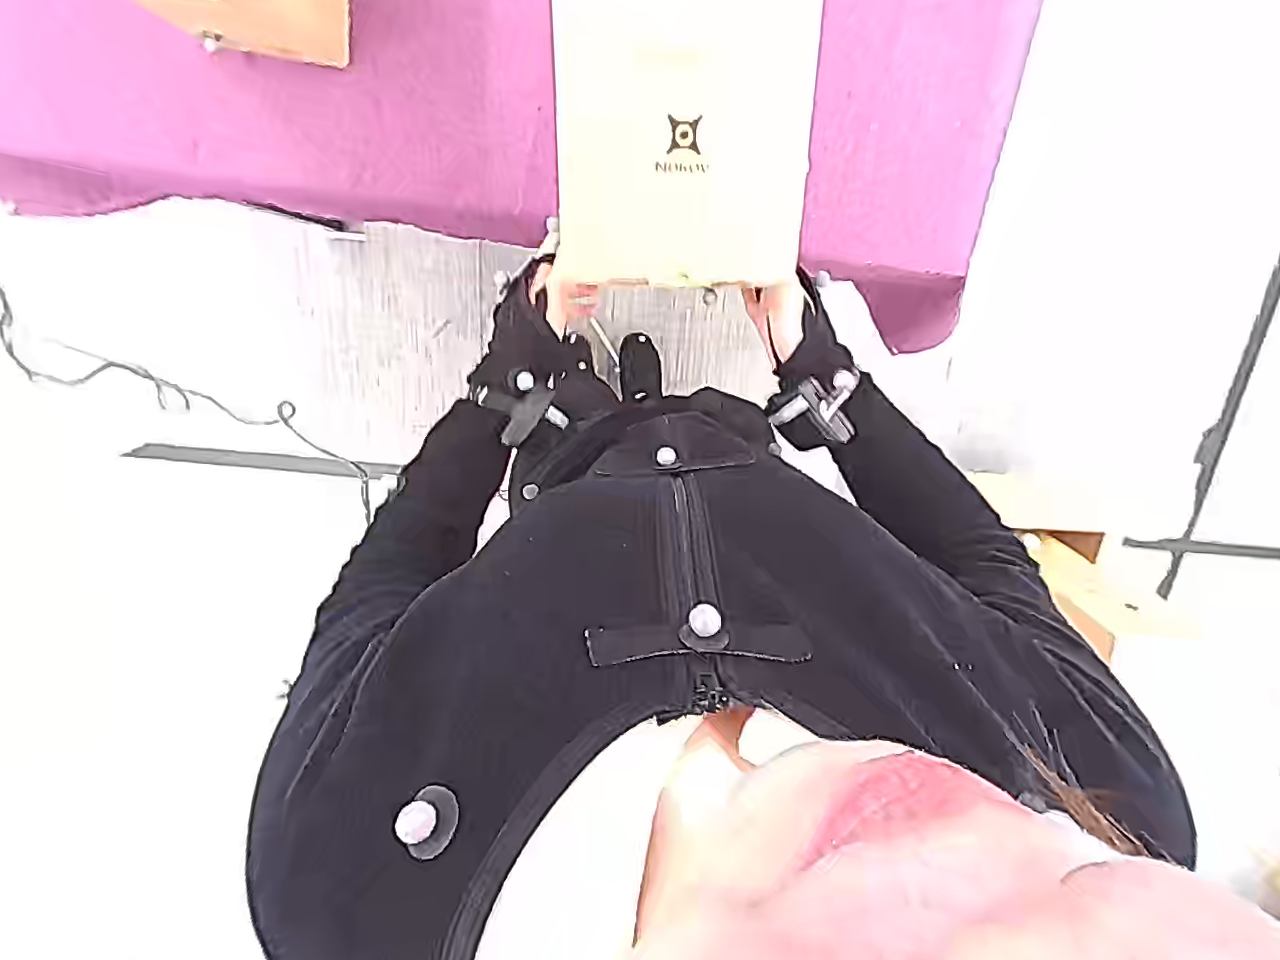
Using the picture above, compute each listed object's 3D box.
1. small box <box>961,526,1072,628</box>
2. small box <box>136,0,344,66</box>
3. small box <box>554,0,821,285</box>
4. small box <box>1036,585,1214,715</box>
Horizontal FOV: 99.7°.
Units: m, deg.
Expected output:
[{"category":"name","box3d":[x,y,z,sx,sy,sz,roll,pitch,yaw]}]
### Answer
[{"category":"small box","box3d":[0.913,0.228,1.324,0.168,0.176,0.179,-15,109,7]},{"category":"small box","box3d":[-0.400,-0.533,0.508,0.168,0.176,0.179,8,105,-4]},{"category":"small box","box3d":[0.023,-0.251,0.428,0.168,0.176,0.179,0,109,-4]},{"category":"small box","box3d":[0.881,0.308,1.005,0.168,0.176,0.179,-1,110,4]}]
